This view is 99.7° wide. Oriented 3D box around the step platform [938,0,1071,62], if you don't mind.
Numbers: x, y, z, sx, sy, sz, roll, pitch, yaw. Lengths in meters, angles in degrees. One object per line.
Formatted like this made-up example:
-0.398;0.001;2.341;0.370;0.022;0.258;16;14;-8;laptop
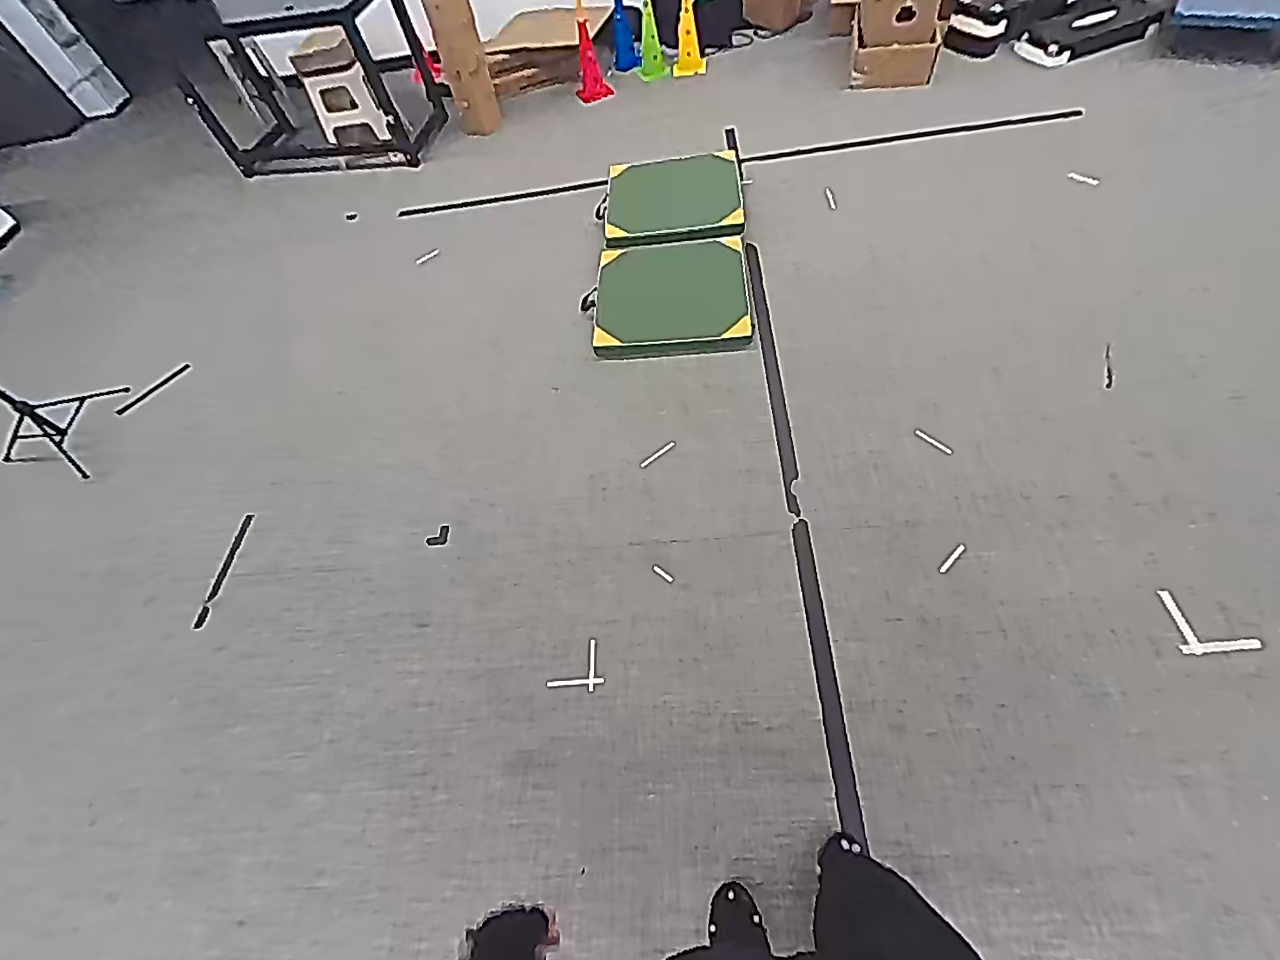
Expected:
2.002;-2.536;2.949;0.684;0.204;0.286;-29;58;-9;step platform
